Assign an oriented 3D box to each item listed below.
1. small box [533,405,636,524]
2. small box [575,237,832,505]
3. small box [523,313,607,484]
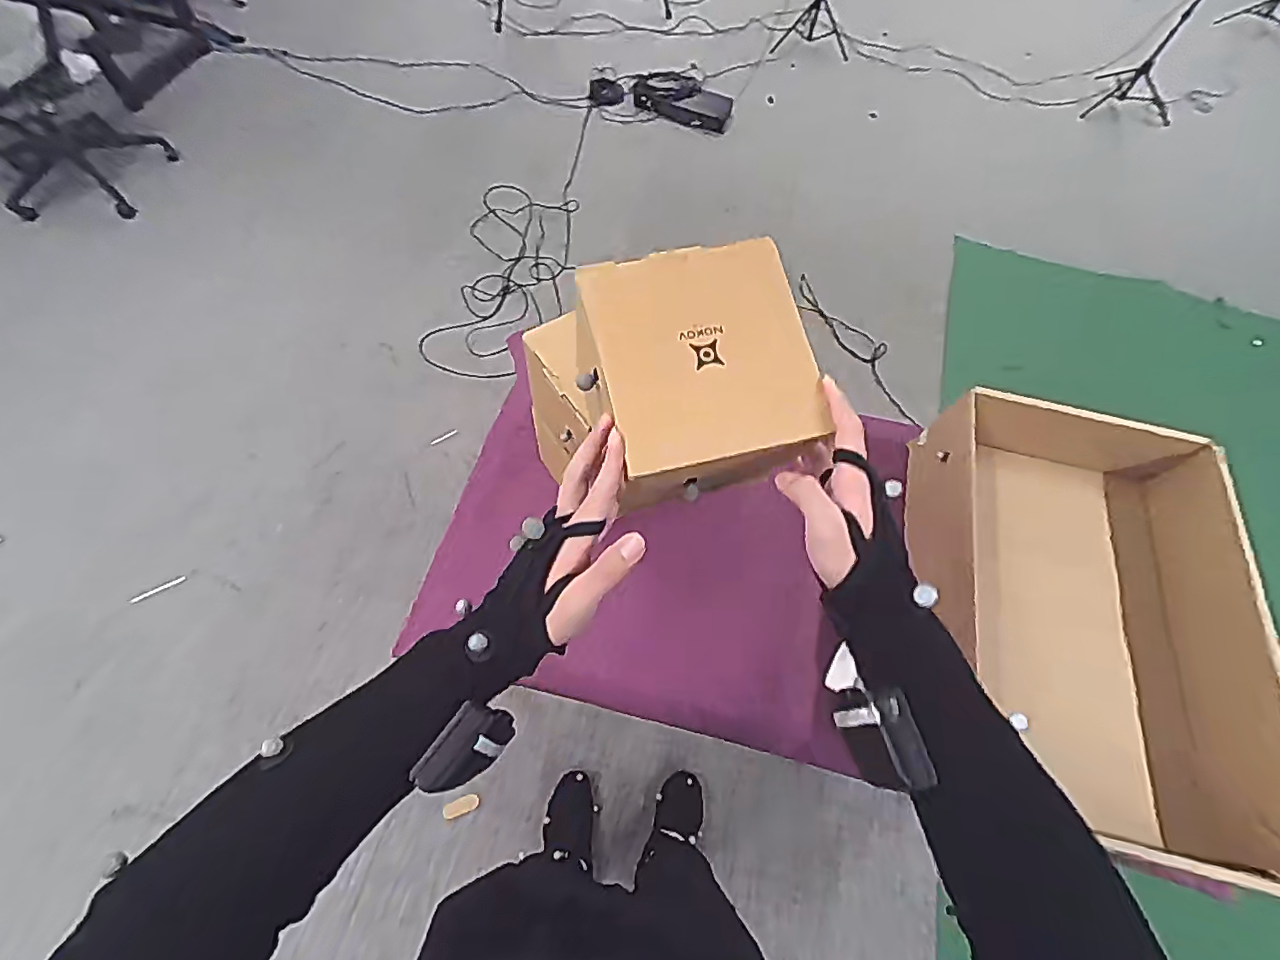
[{"bbox_3d":[-0.058,-0.046,0.896,0.168,0.176,0.179,-29,69,-18],"label":"small box"},{"bbox_3d":[0.041,-0.083,0.494,0.168,0.176,0.179,-13,77,-9],"label":"small box"},{"bbox_3d":[-0.039,-0.122,0.752,0.179,0.176,0.168,-29,70,-18],"label":"small box"}]
